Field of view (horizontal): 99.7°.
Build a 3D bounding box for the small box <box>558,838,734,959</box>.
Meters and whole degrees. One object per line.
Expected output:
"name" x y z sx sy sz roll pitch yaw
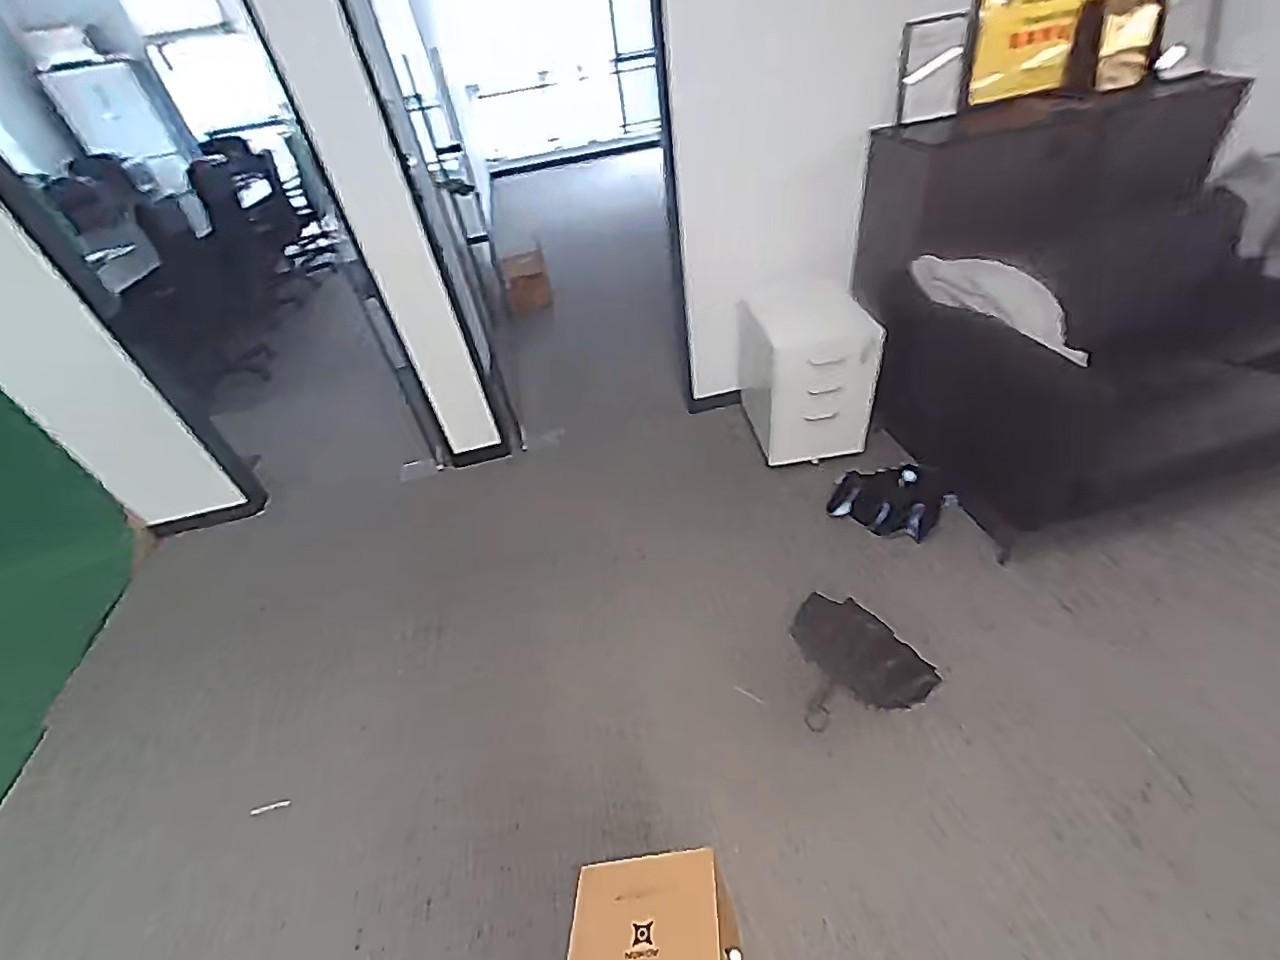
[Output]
"small box" 0.015 0.549 0.600 0.168 0.176 0.179 -13 17 7
